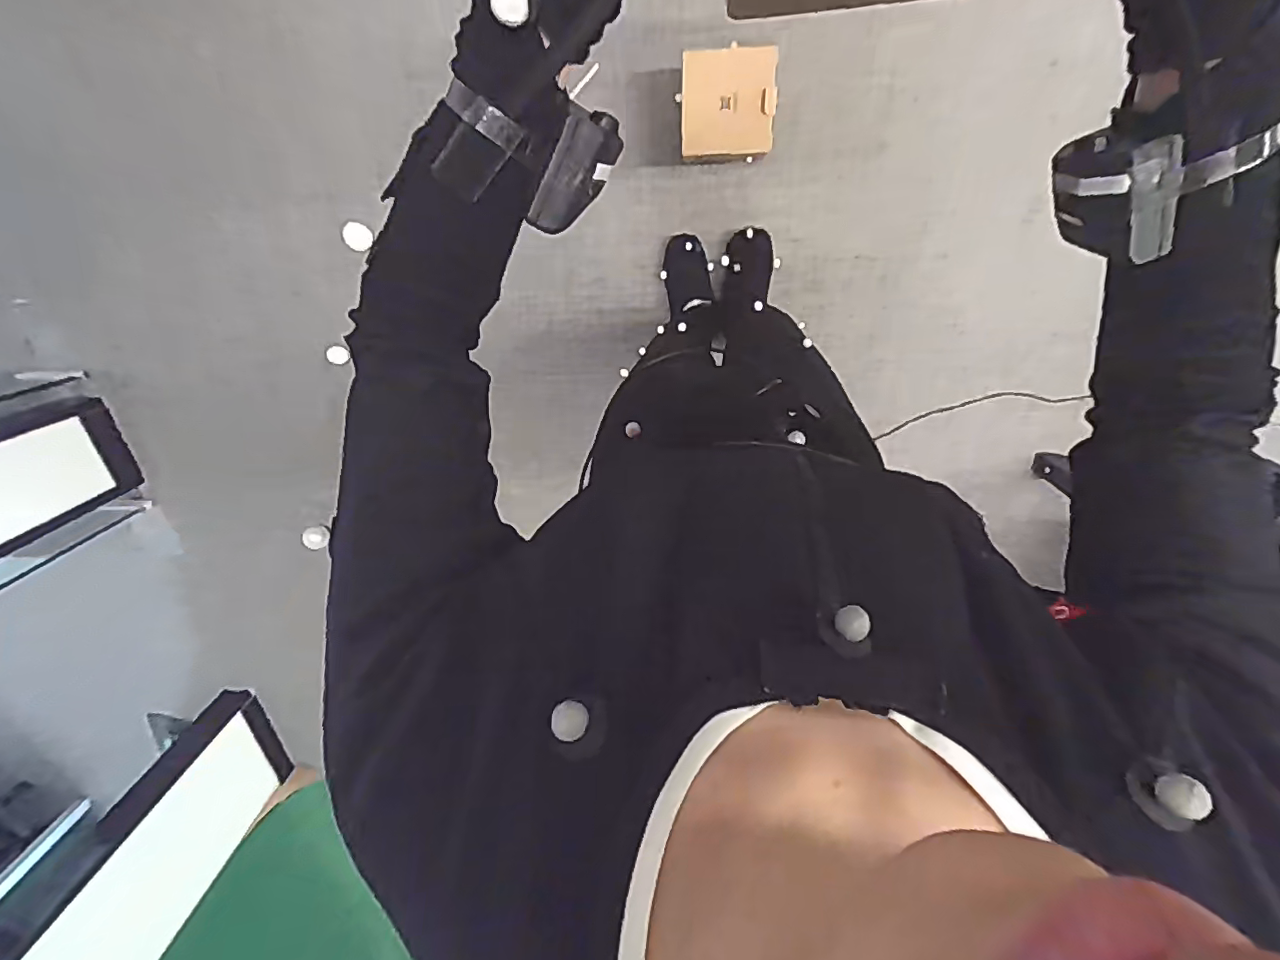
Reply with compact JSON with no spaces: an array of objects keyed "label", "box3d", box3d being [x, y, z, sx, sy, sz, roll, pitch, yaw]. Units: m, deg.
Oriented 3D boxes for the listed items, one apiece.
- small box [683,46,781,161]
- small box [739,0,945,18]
[{"label":"small box","box3d":[0.177,-0.742,1.082,0.179,0.176,0.168,1,117,5]},{"label":"small box","box3d":[0.127,-0.371,0.262,0.168,0.176,0.179,1,113,9]}]
